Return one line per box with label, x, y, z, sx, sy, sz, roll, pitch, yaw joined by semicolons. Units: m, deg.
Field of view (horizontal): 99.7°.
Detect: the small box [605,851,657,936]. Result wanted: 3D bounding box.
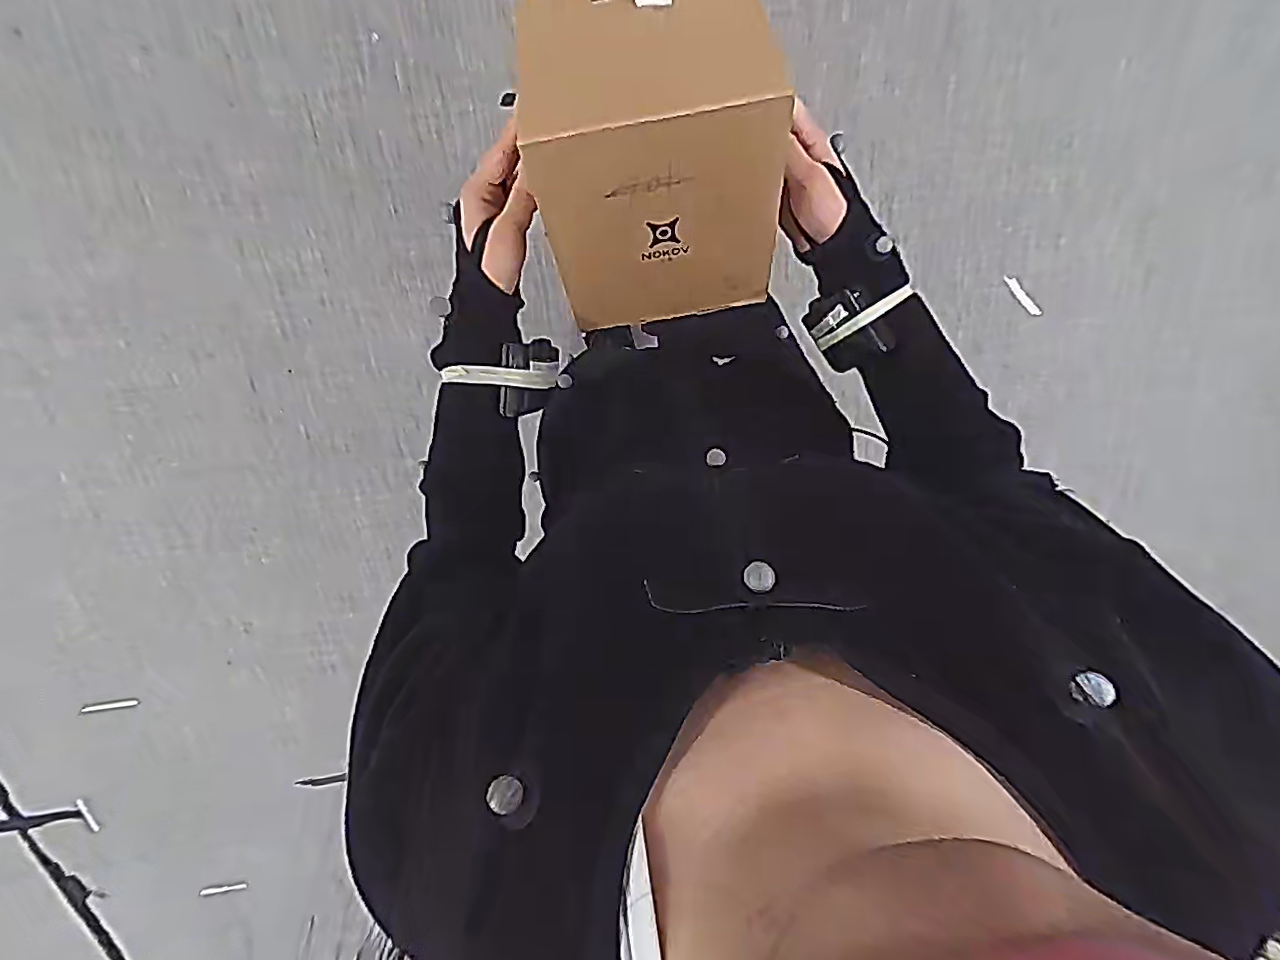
small box;-0.035;1.496;1.963;0.168;0.176;0.179;-8;109;-4
